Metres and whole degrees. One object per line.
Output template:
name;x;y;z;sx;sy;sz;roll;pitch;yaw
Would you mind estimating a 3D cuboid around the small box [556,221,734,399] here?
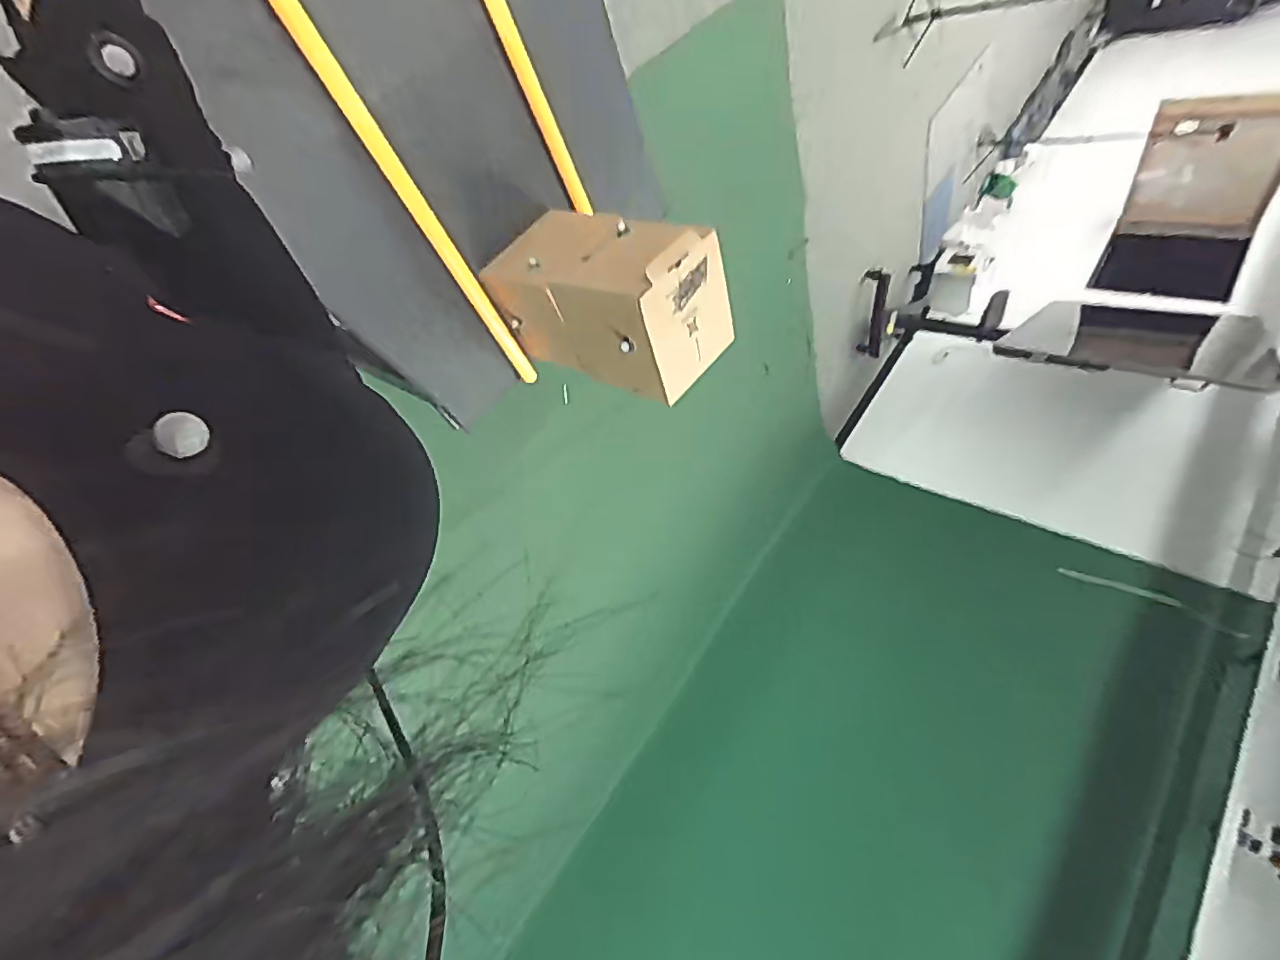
small box;0.009;-0.246;0.768;0.168;0.176;0.179;-48;141;-22
